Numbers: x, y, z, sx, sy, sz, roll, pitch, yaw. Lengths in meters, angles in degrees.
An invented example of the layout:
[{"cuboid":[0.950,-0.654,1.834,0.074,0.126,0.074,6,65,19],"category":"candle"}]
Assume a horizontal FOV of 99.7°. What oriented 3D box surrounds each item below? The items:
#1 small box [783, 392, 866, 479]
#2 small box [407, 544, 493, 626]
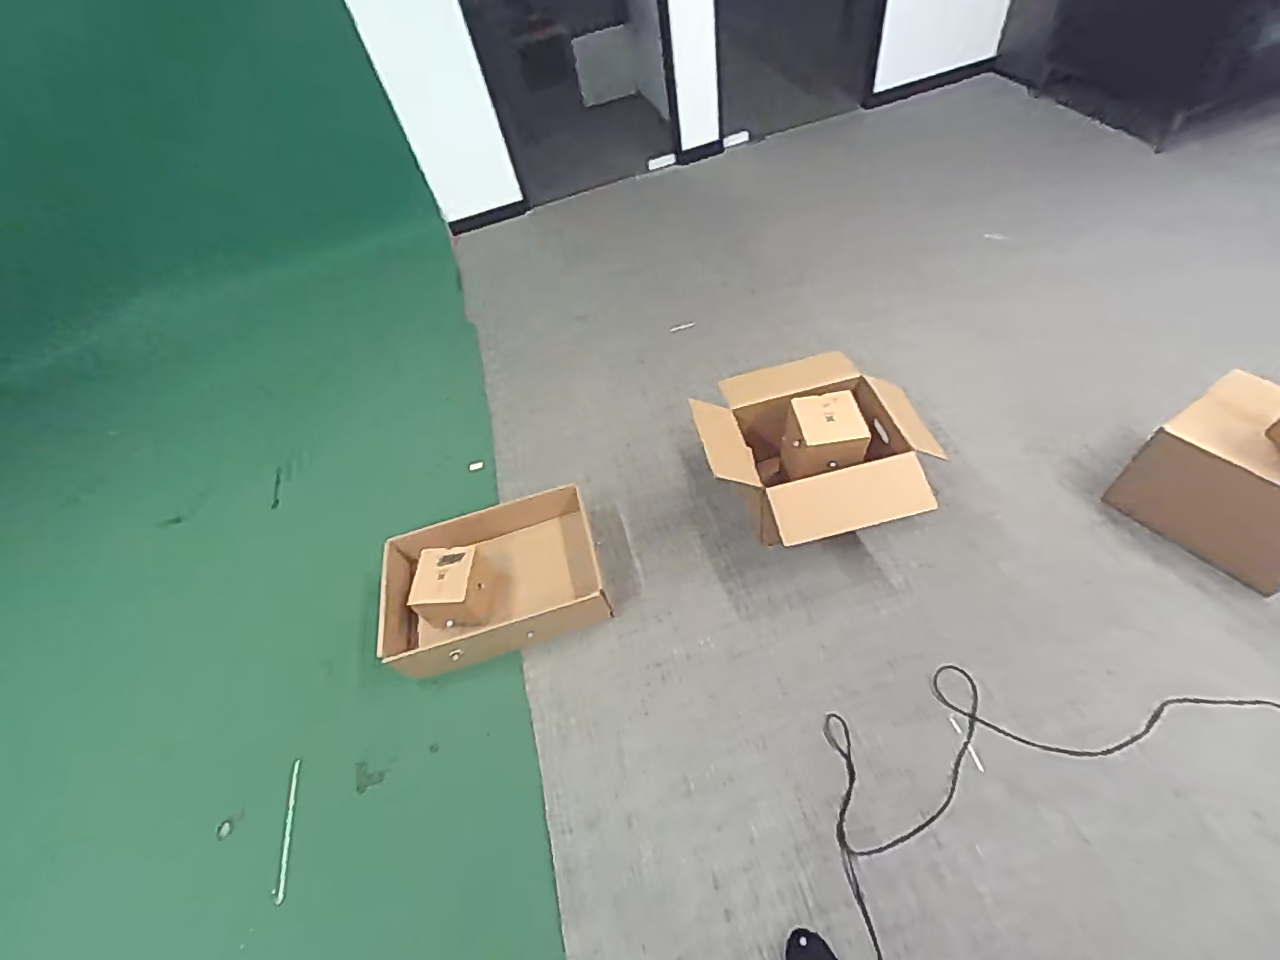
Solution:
[{"cuboid":[0.508,-0.117,1.515,0.168,0.176,0.179,-8,52,1],"category":"small box"},{"cuboid":[-0.540,0.306,1.569,0.168,0.176,0.179,-4,52,7],"category":"small box"}]
